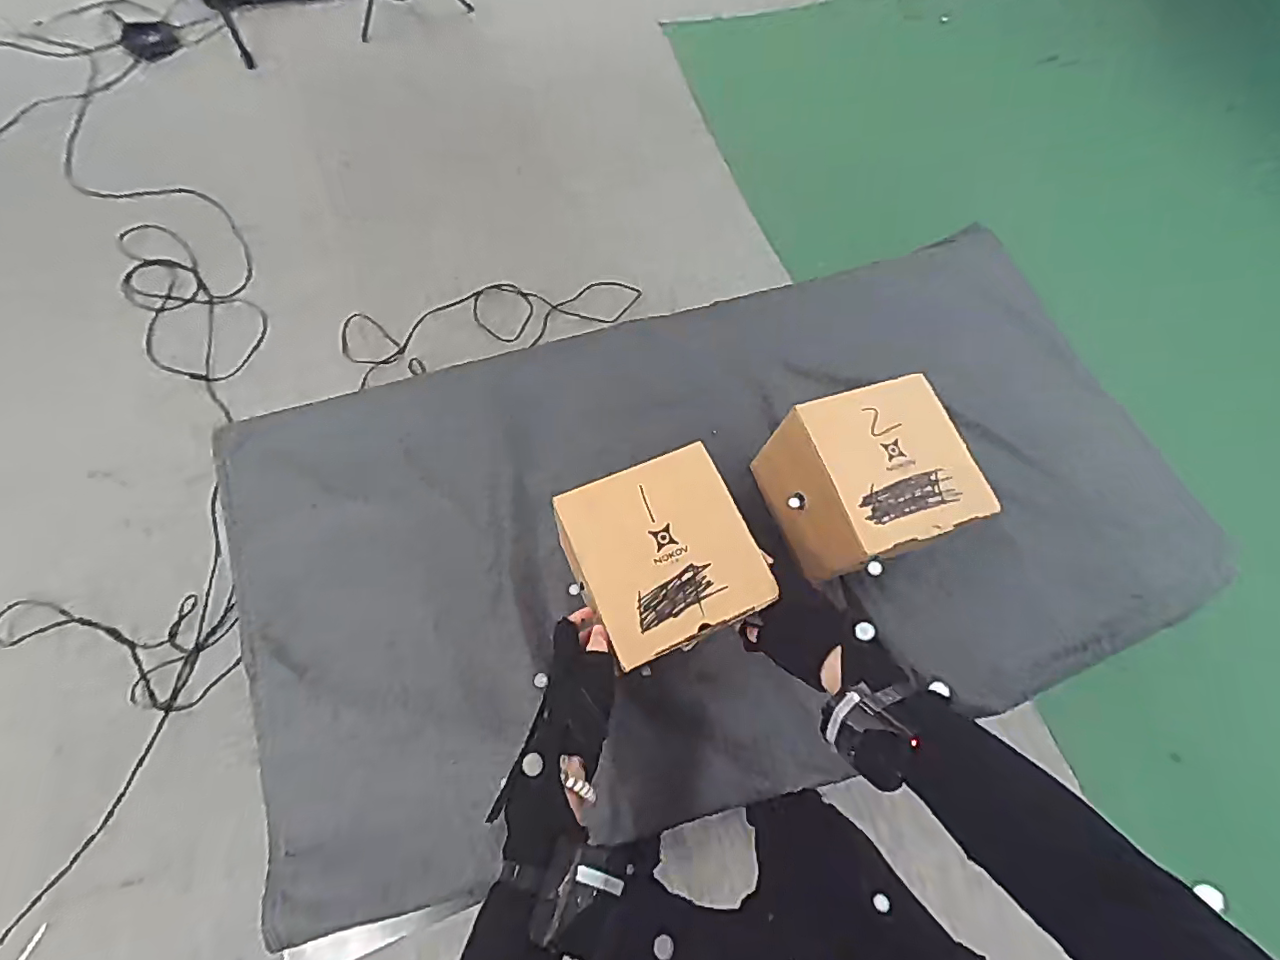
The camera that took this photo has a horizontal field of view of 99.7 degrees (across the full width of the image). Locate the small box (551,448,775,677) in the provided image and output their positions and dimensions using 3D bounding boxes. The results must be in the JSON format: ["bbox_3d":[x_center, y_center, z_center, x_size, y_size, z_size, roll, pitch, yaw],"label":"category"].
[{"bbox_3d":[0.015,0.097,0.586,0.168,0.176,0.179,-21,71,-13],"label":"small box"}]
